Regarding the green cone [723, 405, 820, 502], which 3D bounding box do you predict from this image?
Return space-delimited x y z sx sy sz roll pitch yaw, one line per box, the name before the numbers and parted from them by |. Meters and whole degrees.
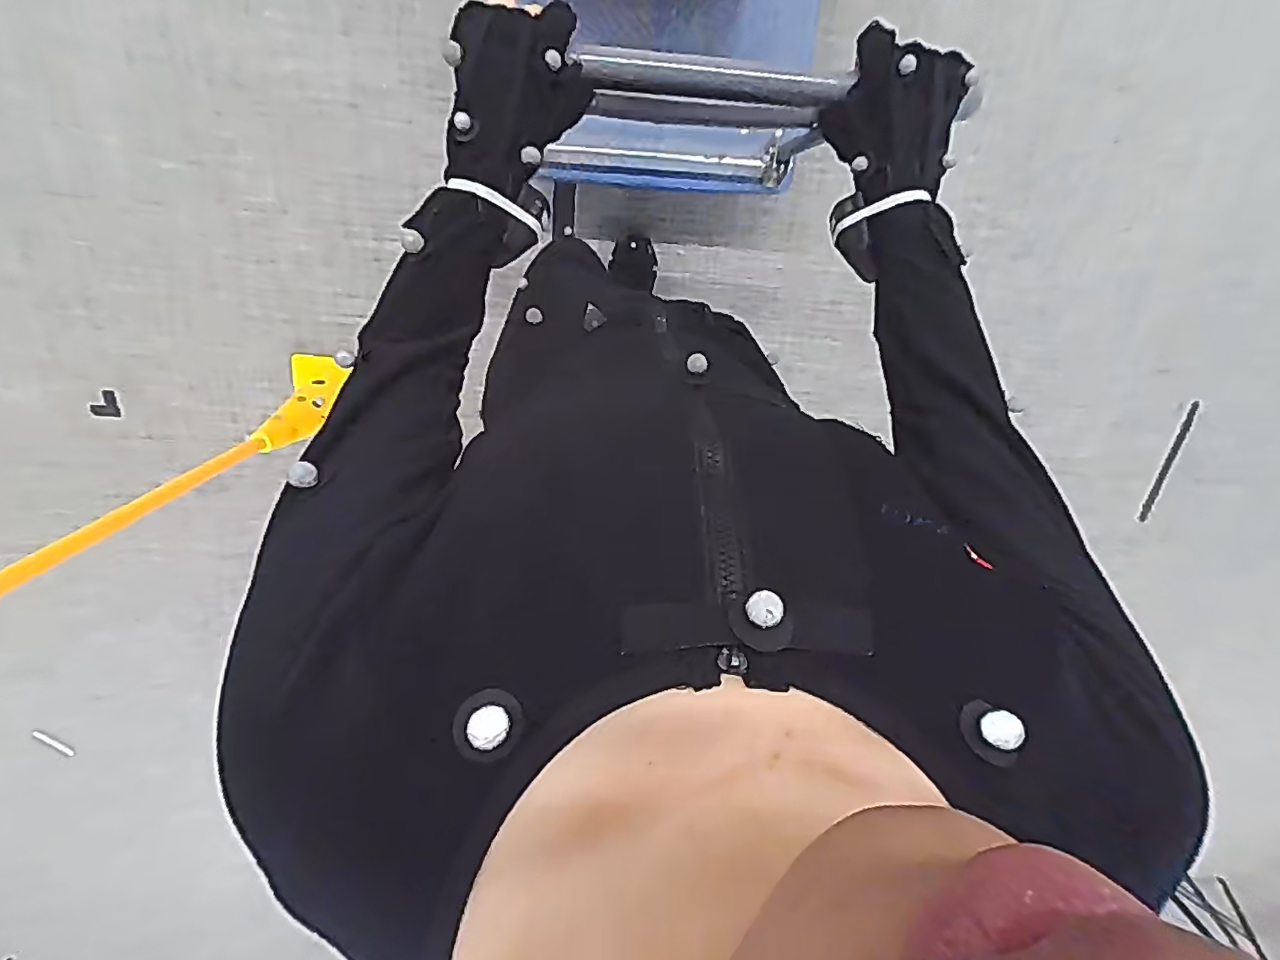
green cone | 0.358 -0.037 1.356 0.202 0.368 0.200 6 113 -8
